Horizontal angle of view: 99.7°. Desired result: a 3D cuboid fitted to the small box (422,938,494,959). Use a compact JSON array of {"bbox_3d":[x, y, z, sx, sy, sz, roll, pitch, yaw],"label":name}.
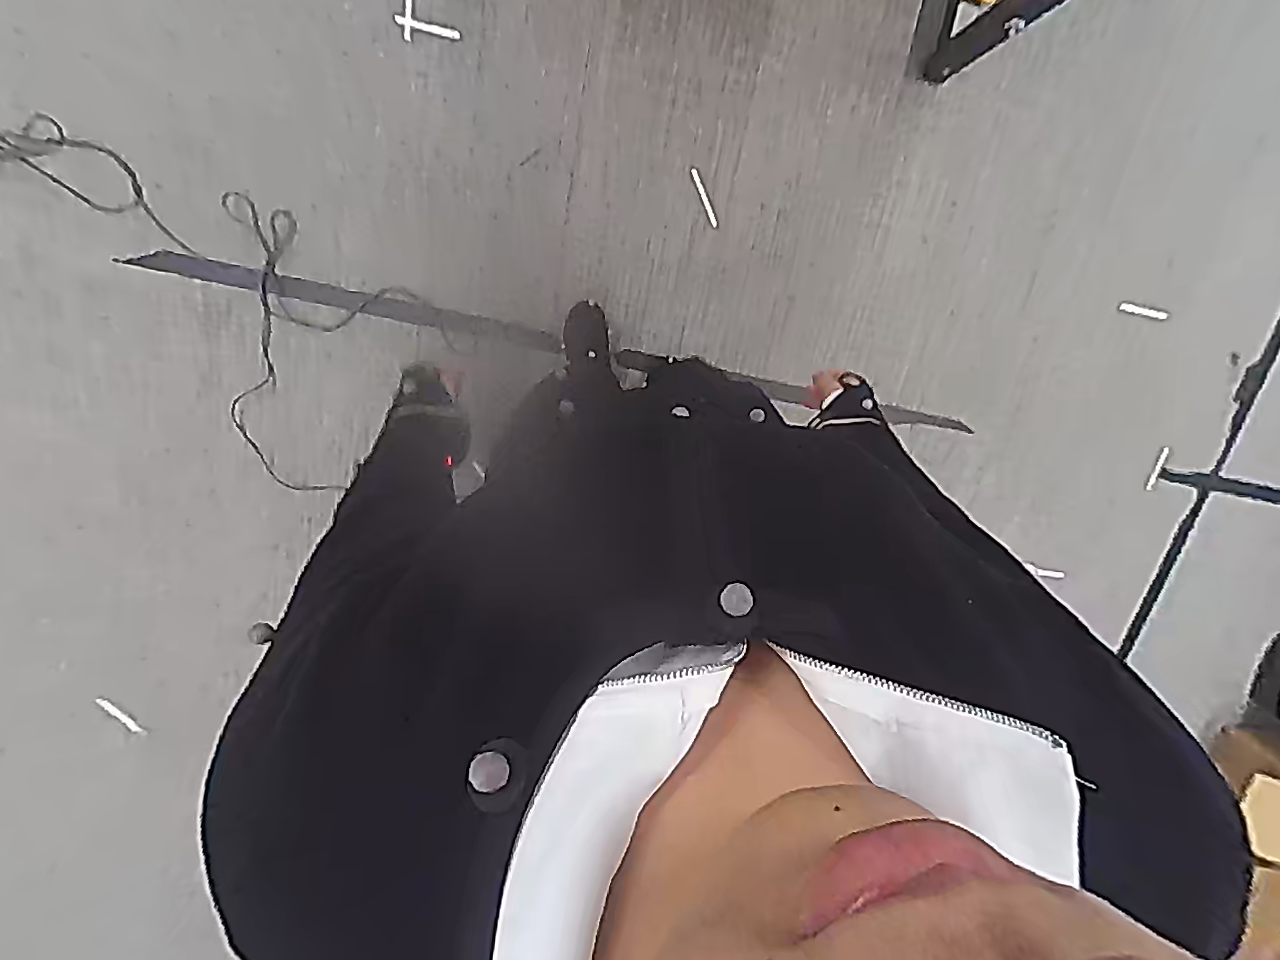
[{"bbox_3d":[-0.441,1.223,1.260,0.168,0.176,0.179,7,103,-7],"label":"small box"}]
